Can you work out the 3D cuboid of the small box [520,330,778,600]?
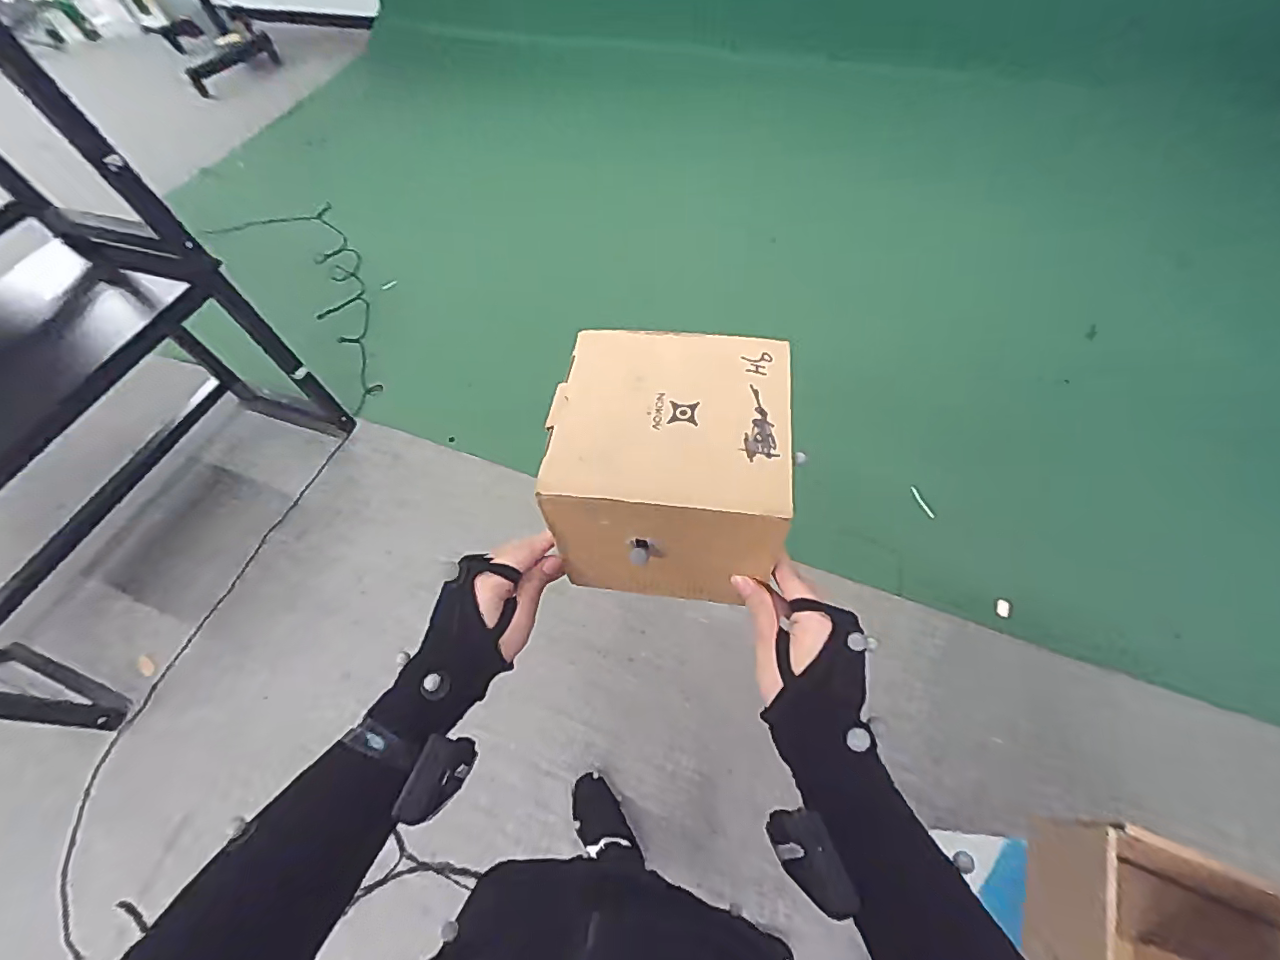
[{"bbox_3d":[0.020,-0.008,0.465,0.179,0.176,0.168,4,57,8],"label":"small box"}]
